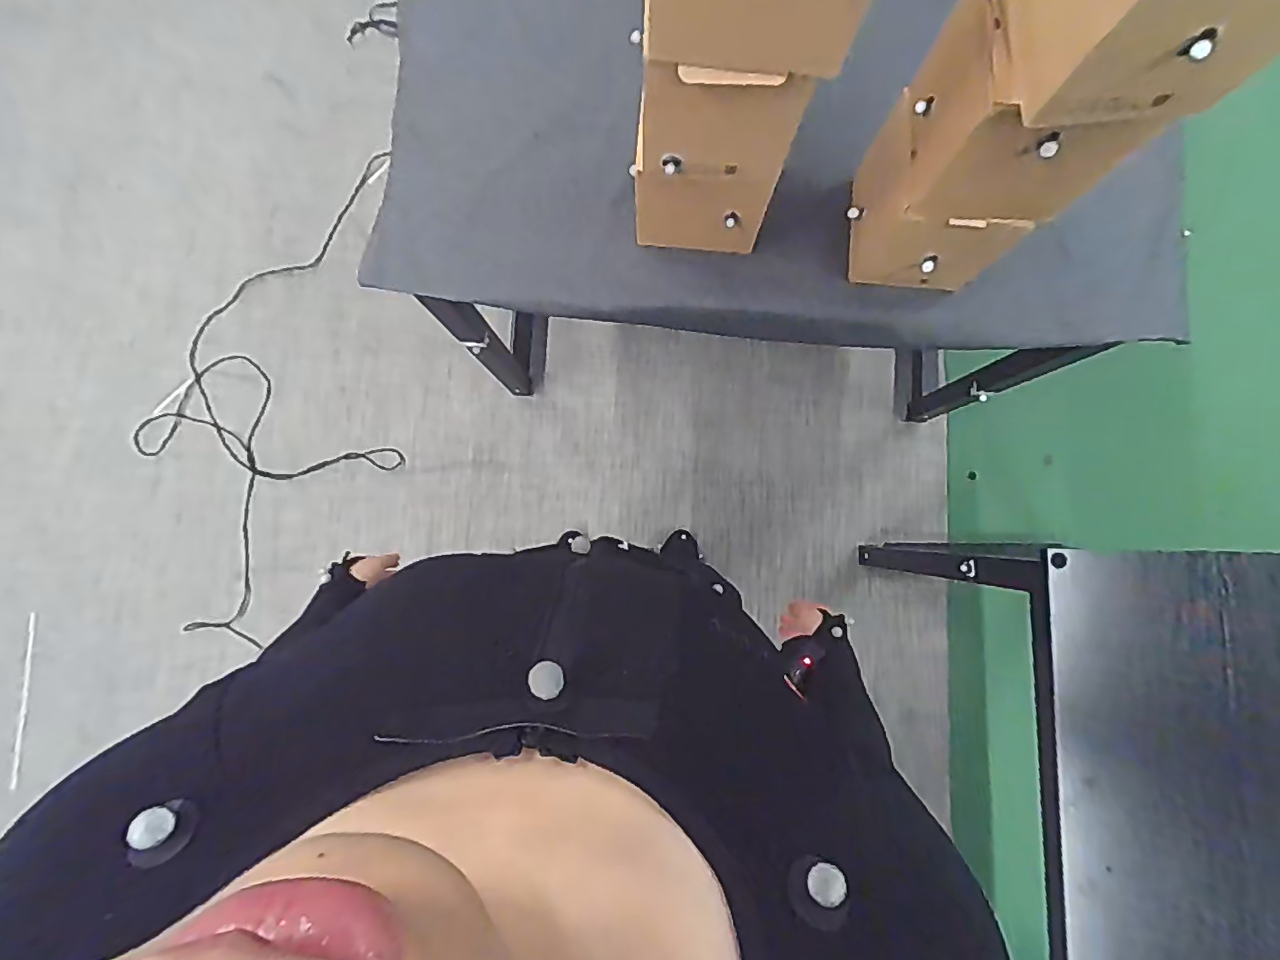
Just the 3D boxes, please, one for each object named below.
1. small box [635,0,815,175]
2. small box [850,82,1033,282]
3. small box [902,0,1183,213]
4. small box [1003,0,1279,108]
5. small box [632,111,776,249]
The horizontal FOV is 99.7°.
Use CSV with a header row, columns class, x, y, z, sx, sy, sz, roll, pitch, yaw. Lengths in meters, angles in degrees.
class,x,y,z,sx,sy,sz,roll,pitch,yaw
small box,0.082,-0.458,0.579,0.168,0.176,0.179,1,82,0
small box,0.396,-0.387,0.730,0.168,0.176,0.179,5,84,2
small box,0.402,-0.405,0.568,0.179,0.176,0.168,3,84,2
small box,0.407,-0.414,0.403,0.168,0.176,0.179,-5,83,1
small box,0.084,-0.438,0.742,0.179,0.176,0.168,4,83,2
